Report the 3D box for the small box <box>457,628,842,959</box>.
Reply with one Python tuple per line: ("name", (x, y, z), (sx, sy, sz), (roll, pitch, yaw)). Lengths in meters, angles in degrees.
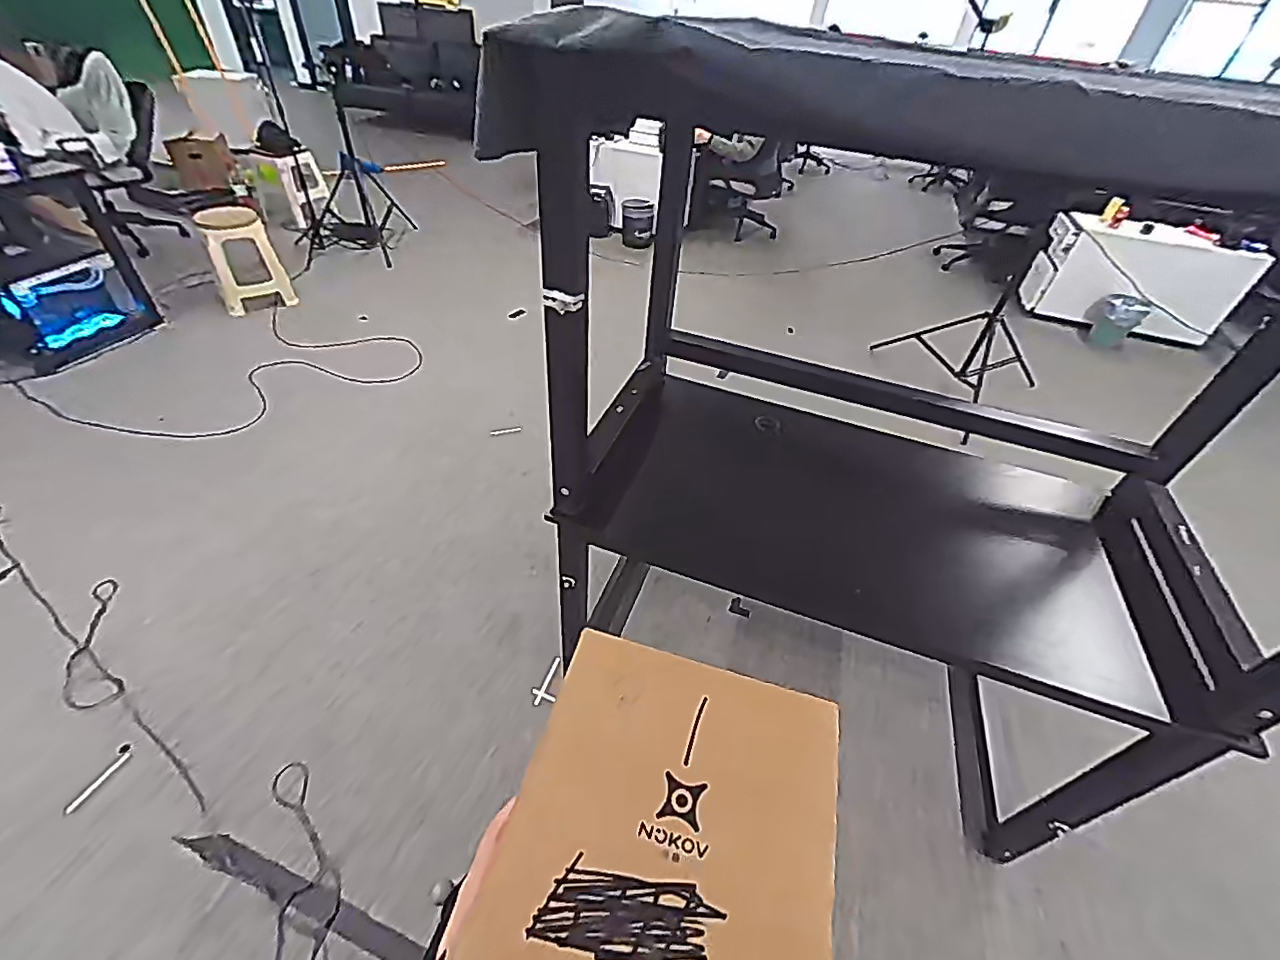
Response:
("small box", (0.015, 0.229, 0.339), (0.168, 0.176, 0.179), (14, 47, 8))
